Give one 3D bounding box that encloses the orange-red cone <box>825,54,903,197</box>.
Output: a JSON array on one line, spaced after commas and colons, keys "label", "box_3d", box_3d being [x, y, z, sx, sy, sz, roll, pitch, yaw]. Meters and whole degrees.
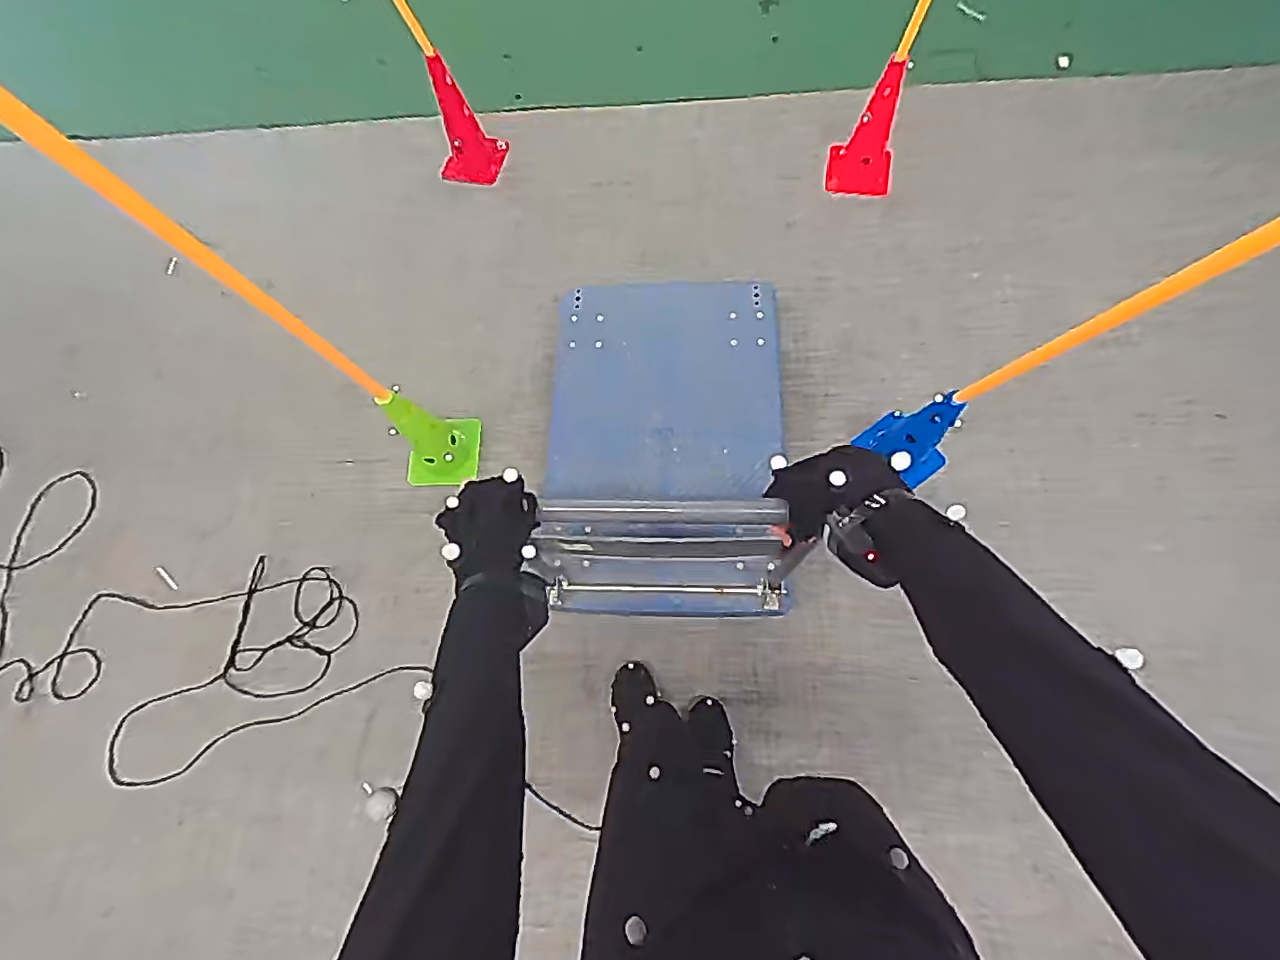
[{"label": "orange-red cone", "box_3d": [0.689, -1.047, 1.582, 0.198, 0.360, 0.199, 10, 74, 8]}]
